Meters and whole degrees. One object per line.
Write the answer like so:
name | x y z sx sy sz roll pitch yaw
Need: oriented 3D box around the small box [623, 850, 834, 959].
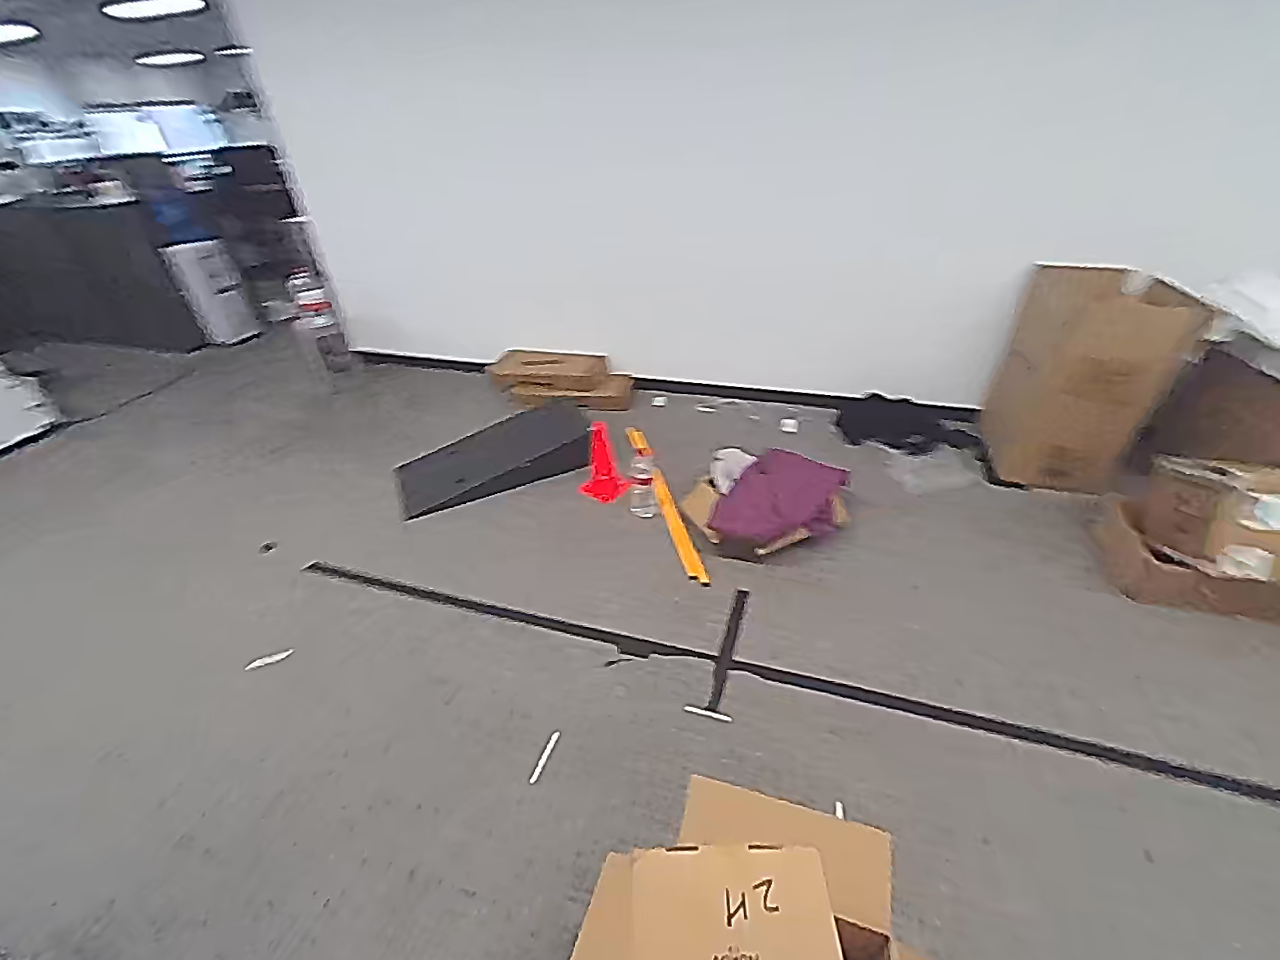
small box | 0.071 0.443 0.456 0.168 0.176 0.179 -2 38 0
